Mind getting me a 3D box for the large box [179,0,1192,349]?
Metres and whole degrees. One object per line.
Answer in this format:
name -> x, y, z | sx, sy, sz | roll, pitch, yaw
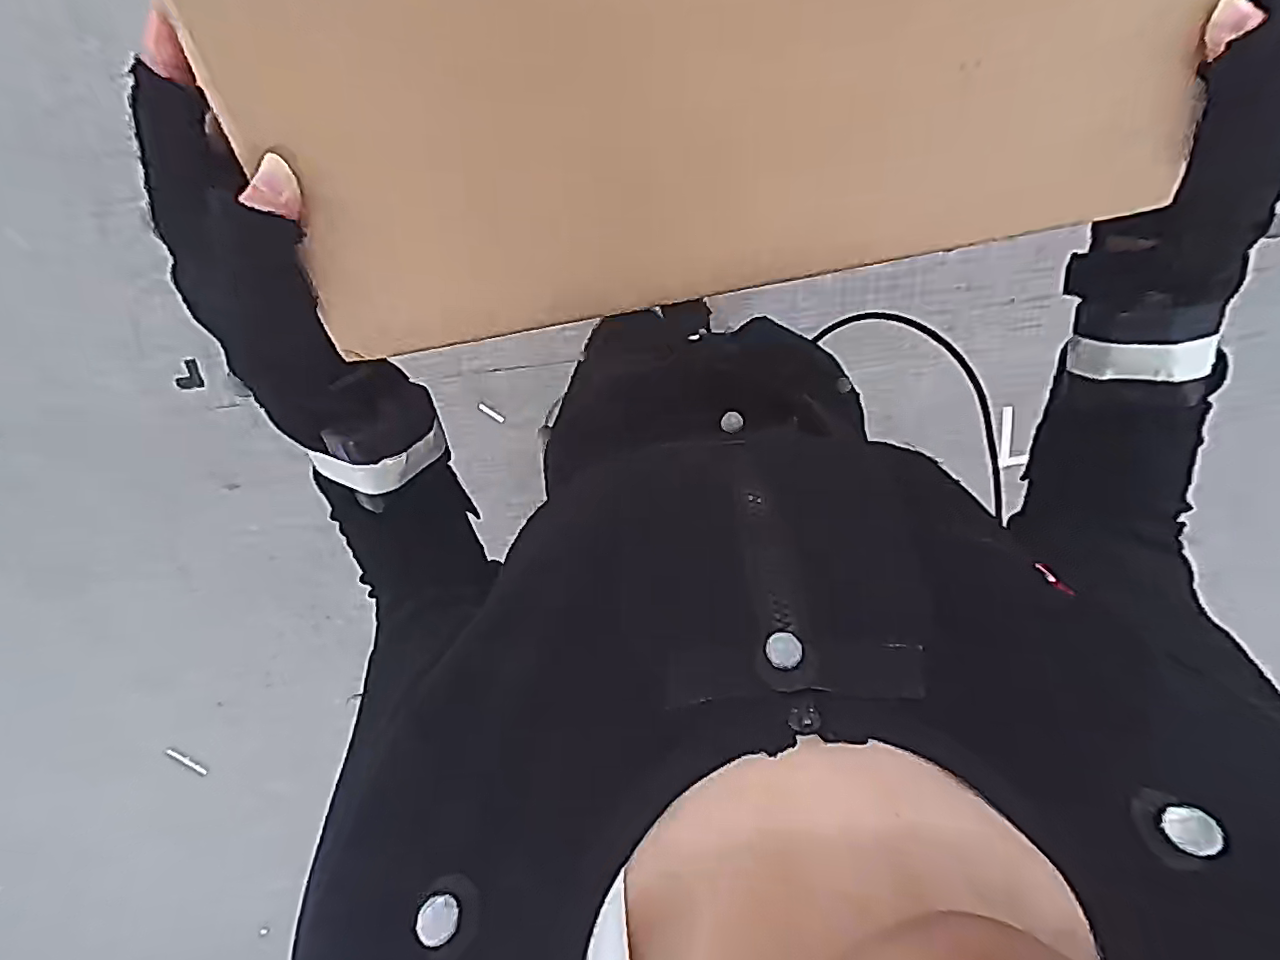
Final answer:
large box -> 0.011, -0.311, 0.307 | 0.408, 0.320, 0.320 | -11, 123, 2
